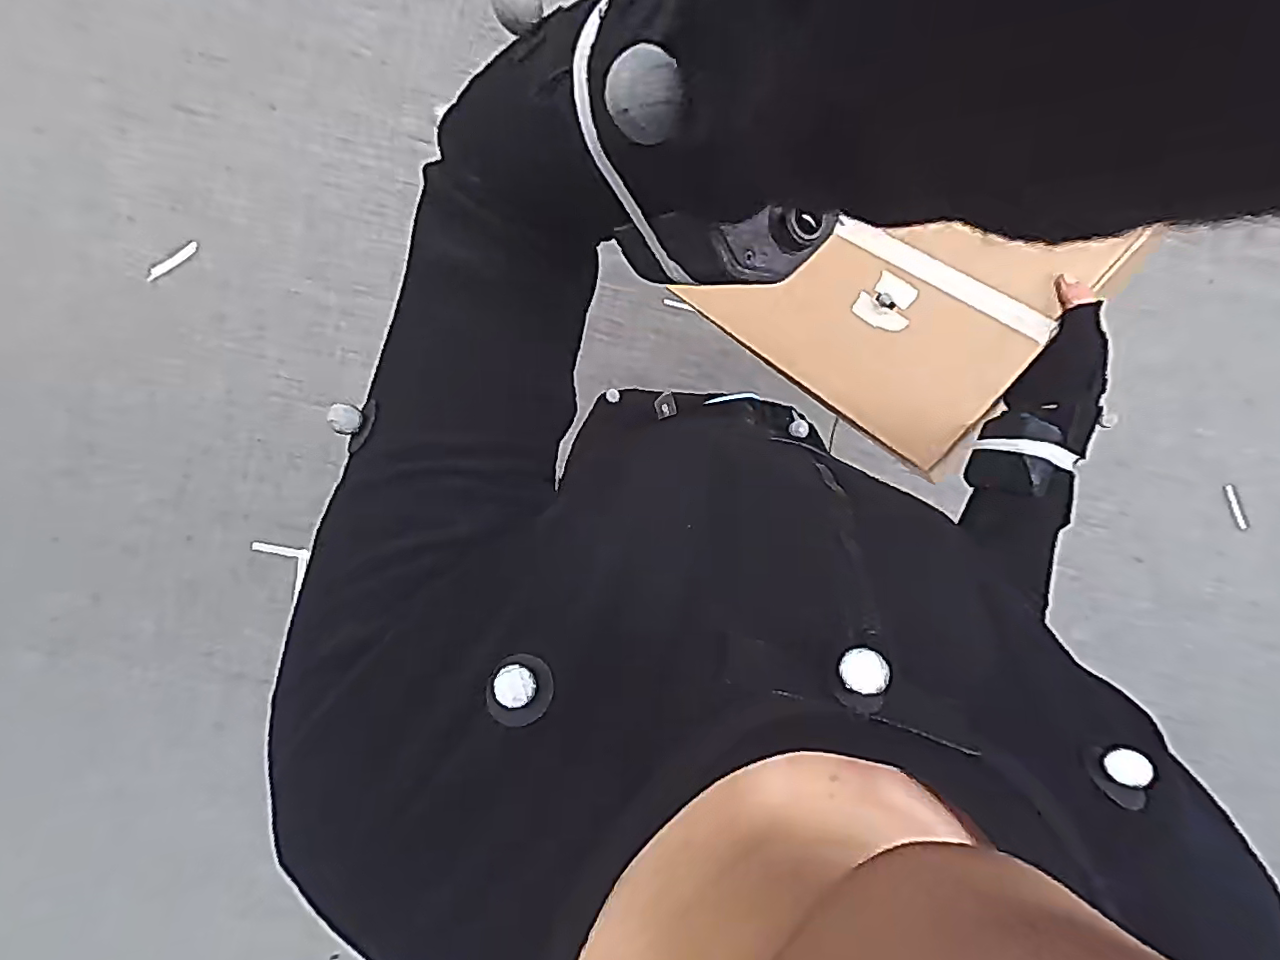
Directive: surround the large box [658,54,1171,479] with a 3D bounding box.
[{"bbox_3d":[0.309,-0.245,0.711,0.408,0.320,0.320,44,109,24],"label":"large box"}]
